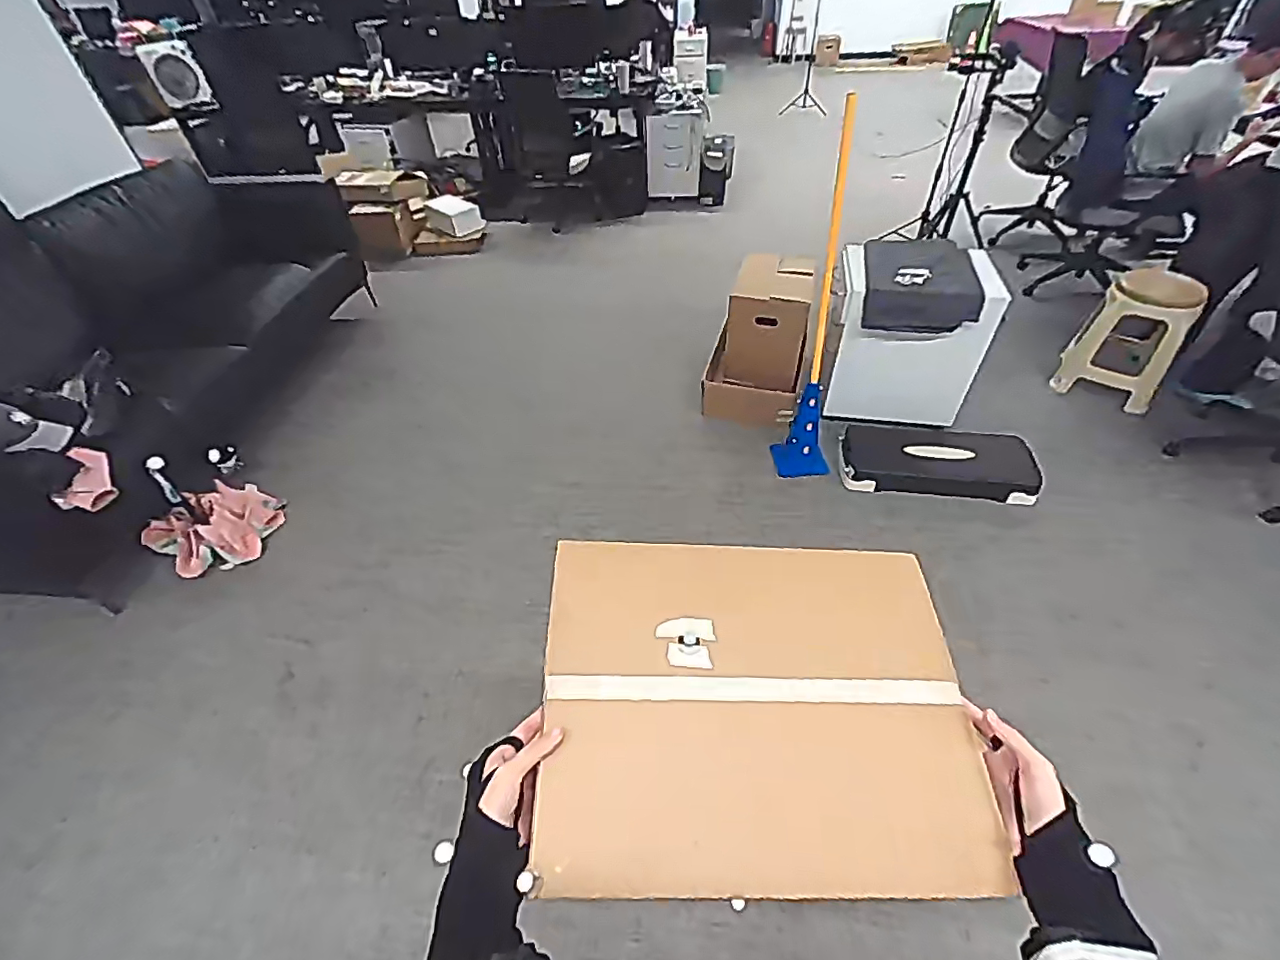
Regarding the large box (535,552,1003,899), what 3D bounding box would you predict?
[{"bbox_3d":[0.104,0.293,0.651,0.408,0.320,0.320,1,55,-3],"label":"large box"}]
